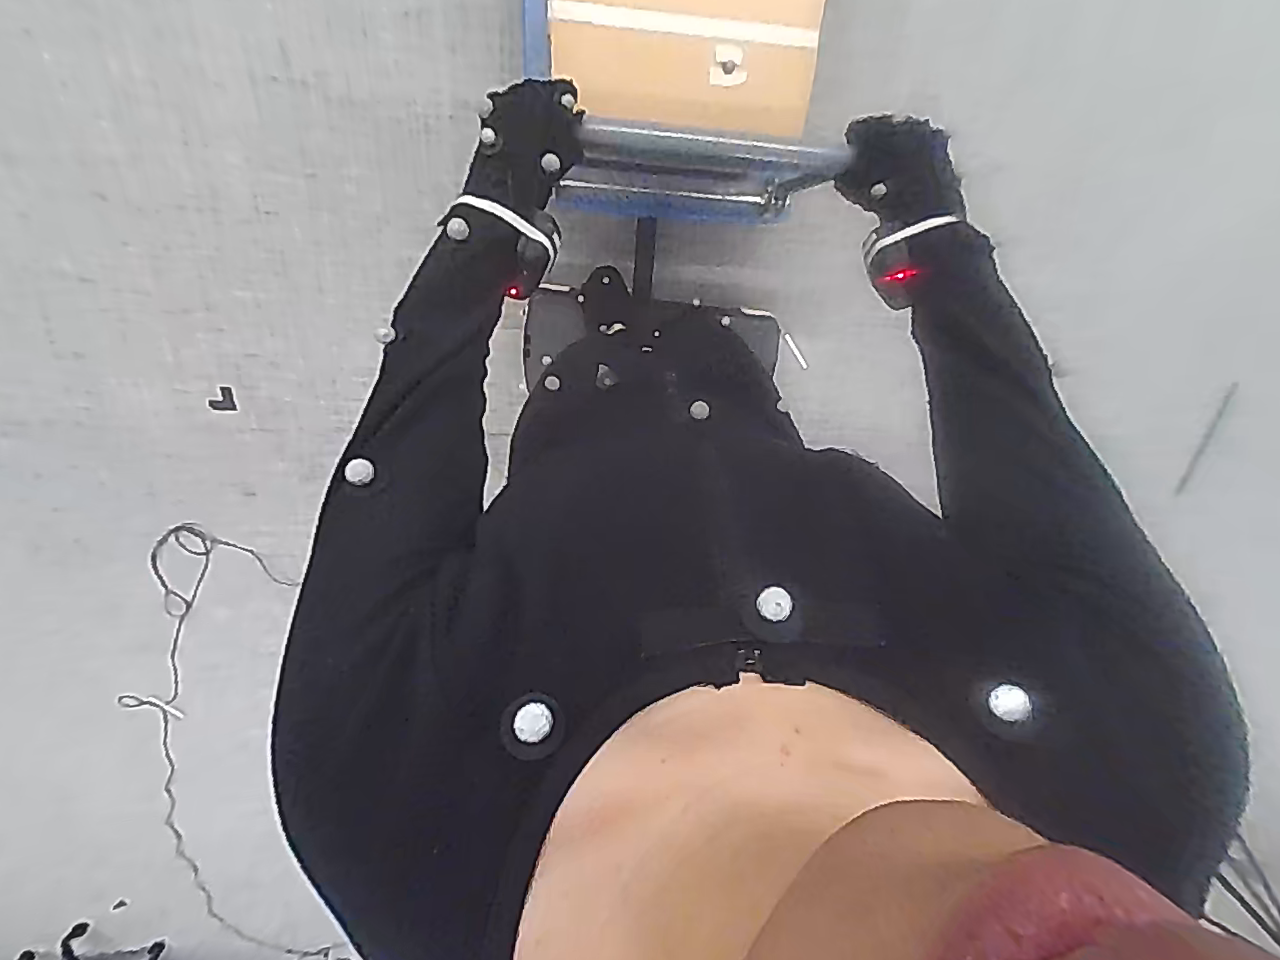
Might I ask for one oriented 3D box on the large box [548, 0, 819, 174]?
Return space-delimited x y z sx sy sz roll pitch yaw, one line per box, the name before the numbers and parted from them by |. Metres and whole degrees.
large box | 0.050 -0.730 0.935 0.408 0.320 0.320 2 116 -6
